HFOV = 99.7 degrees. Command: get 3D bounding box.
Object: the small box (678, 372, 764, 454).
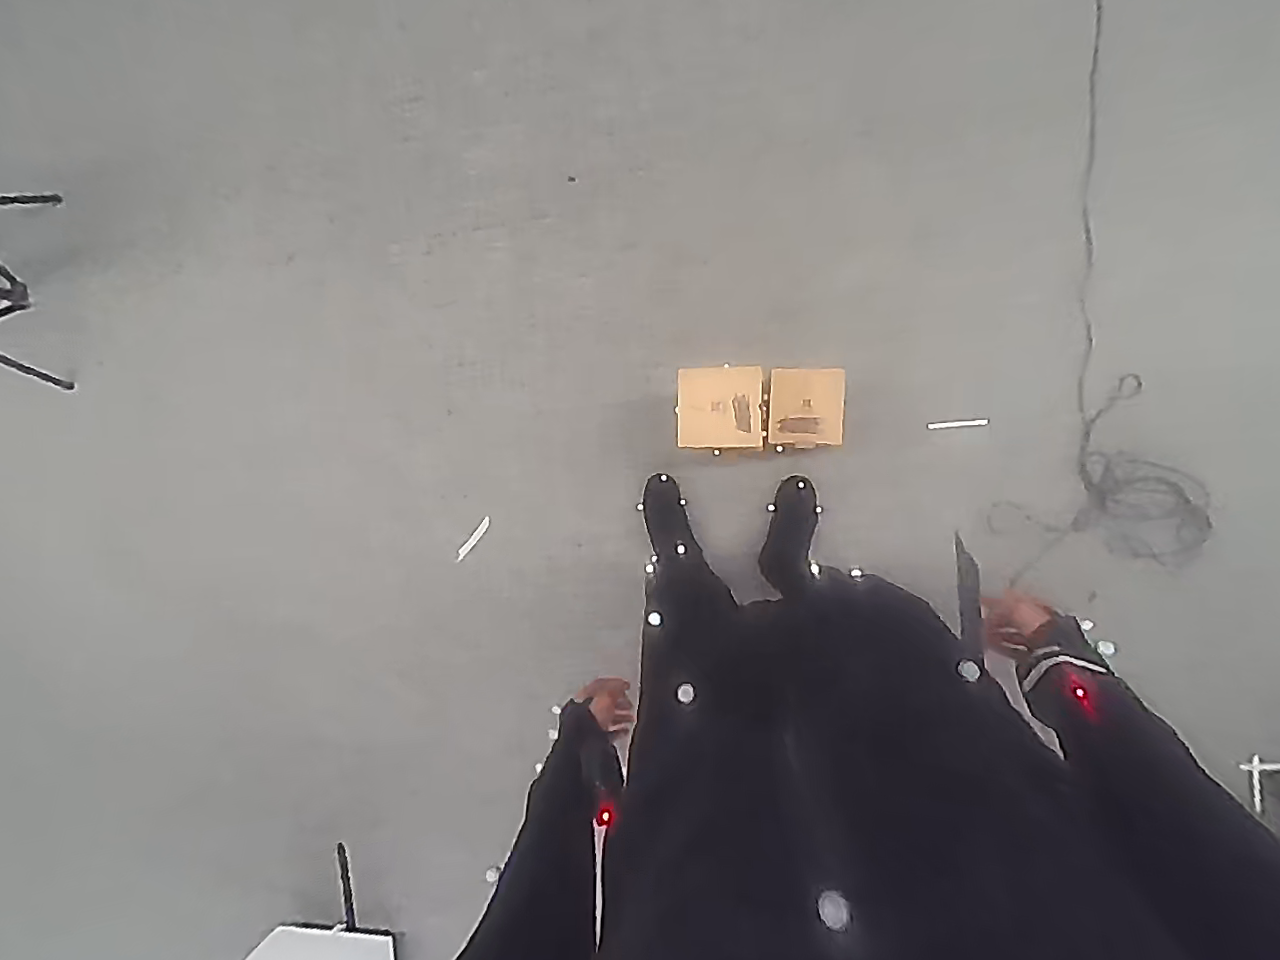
[{"bbox_3d":[0.179,-0.142,1.187,0.179,0.176,0.168,0,92,11],"label":"small box"}]
